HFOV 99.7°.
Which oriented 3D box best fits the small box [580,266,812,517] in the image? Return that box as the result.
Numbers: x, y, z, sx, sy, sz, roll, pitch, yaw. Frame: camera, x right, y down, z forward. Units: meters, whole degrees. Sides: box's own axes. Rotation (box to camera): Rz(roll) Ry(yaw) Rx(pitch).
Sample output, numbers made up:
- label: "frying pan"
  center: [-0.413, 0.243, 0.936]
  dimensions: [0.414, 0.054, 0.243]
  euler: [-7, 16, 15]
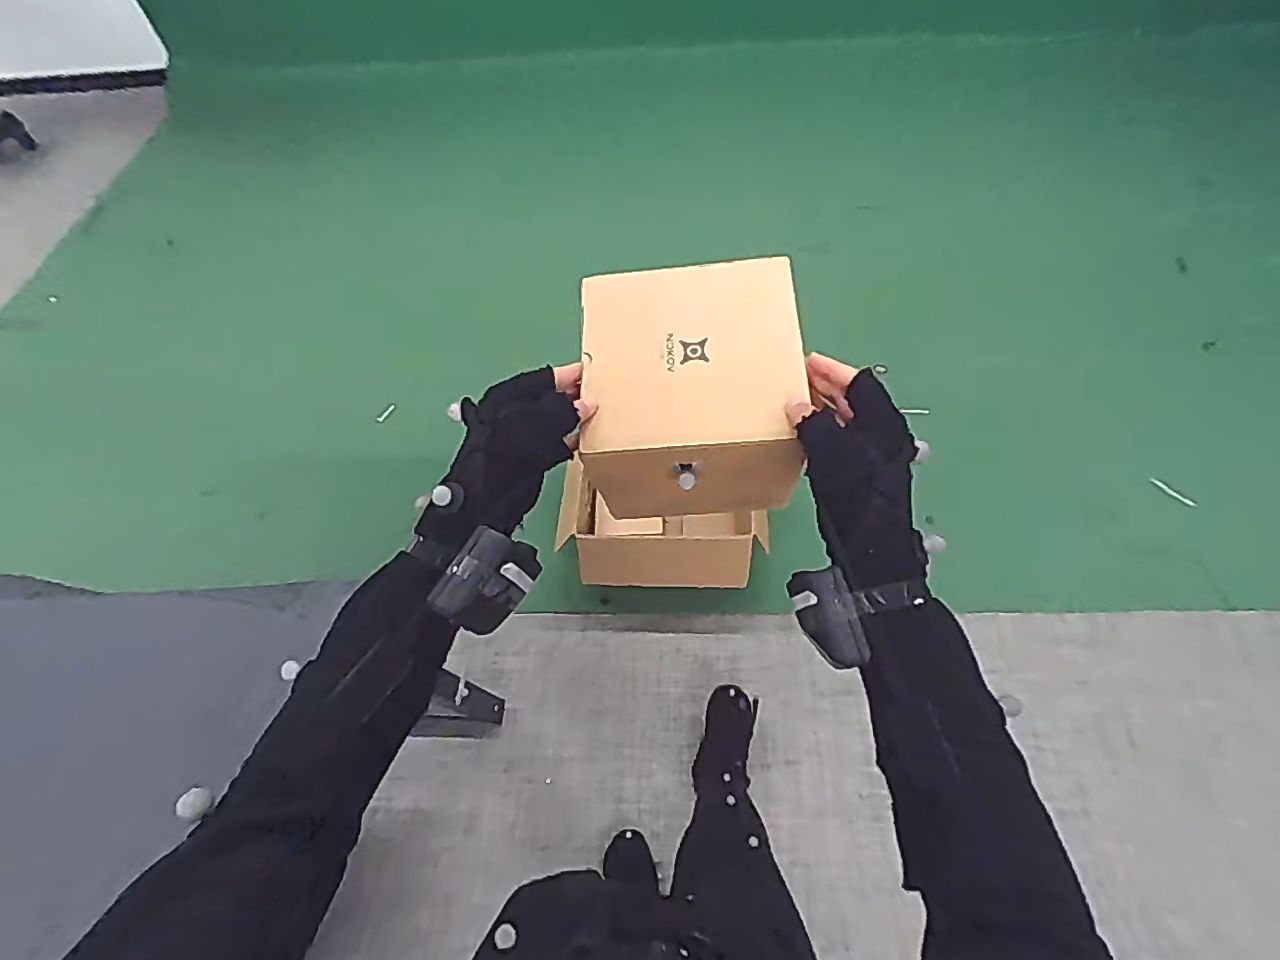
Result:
- label: "small box"
  center: [0.048, -0.068, 0.504]
  dimensions: [0.179, 0.176, 0.168]
  euler: [-4, 68, 7]
